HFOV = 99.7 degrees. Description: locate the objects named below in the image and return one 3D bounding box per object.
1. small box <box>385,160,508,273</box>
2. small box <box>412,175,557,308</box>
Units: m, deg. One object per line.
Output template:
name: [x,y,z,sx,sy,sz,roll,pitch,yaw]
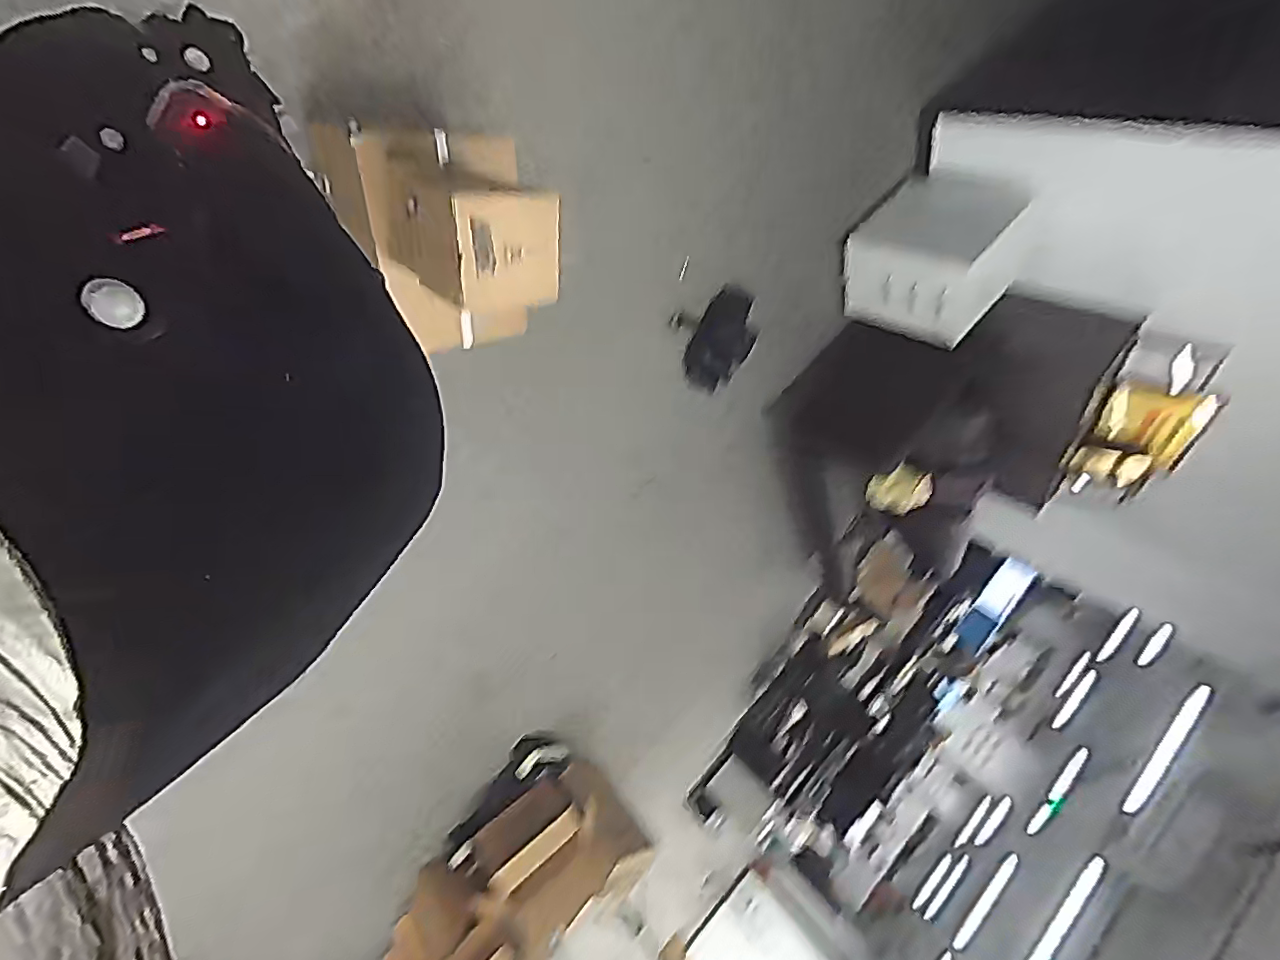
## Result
small box: [-0.349,-0.474,0.989,0.168,0.176,0.179,-20,132,-38]
small box: [-0.253,-0.392,0.878,0.179,0.176,0.168,-22,133,-32]
